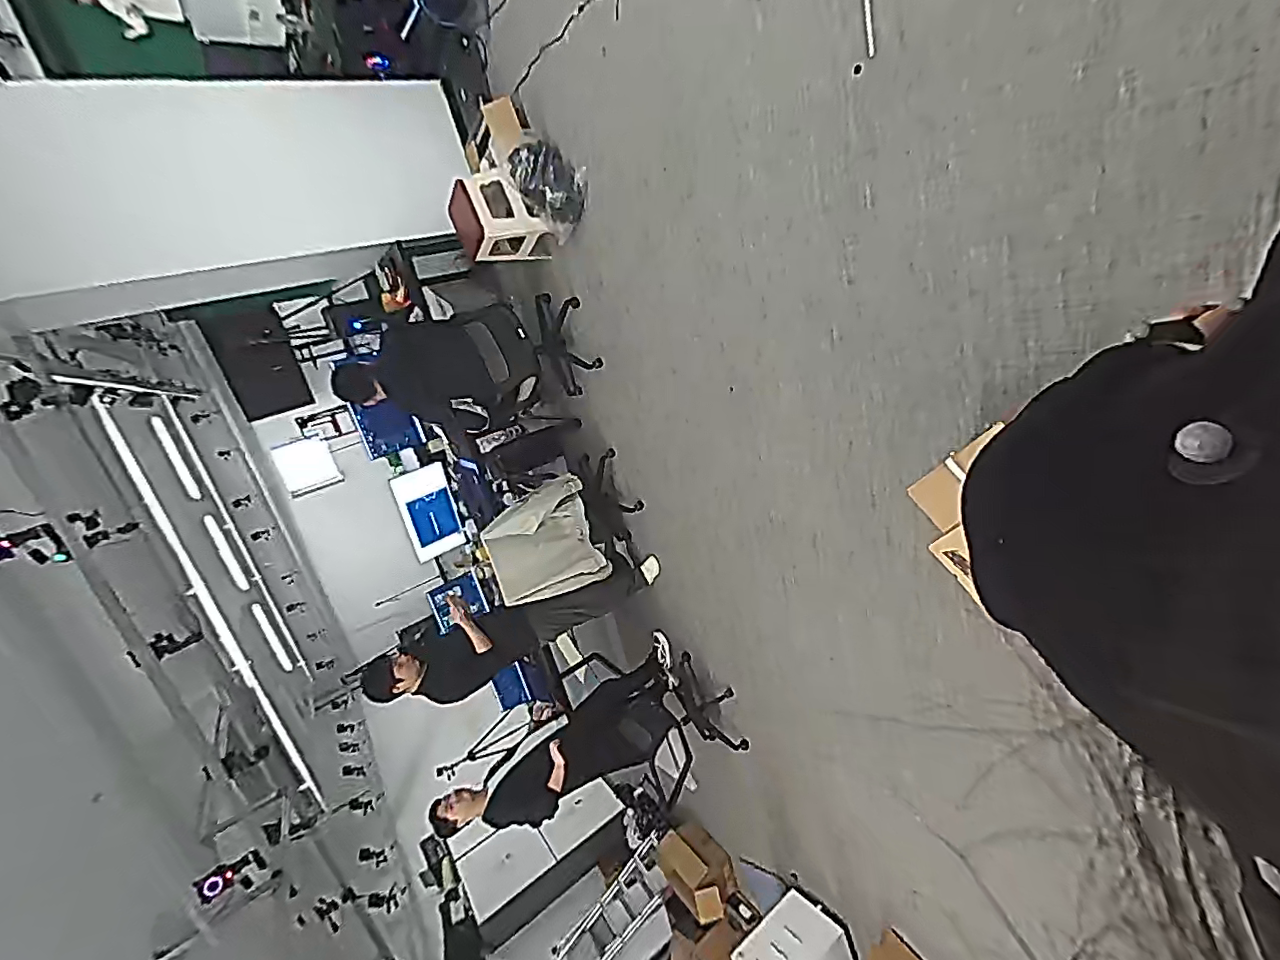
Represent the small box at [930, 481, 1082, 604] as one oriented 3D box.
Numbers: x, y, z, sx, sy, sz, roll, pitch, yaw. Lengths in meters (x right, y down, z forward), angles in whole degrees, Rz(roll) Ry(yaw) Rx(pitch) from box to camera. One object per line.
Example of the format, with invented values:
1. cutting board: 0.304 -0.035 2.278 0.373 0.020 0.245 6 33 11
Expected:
1. small box: 0.774 0.131 1.148 0.168 0.176 0.179 55 149 20
